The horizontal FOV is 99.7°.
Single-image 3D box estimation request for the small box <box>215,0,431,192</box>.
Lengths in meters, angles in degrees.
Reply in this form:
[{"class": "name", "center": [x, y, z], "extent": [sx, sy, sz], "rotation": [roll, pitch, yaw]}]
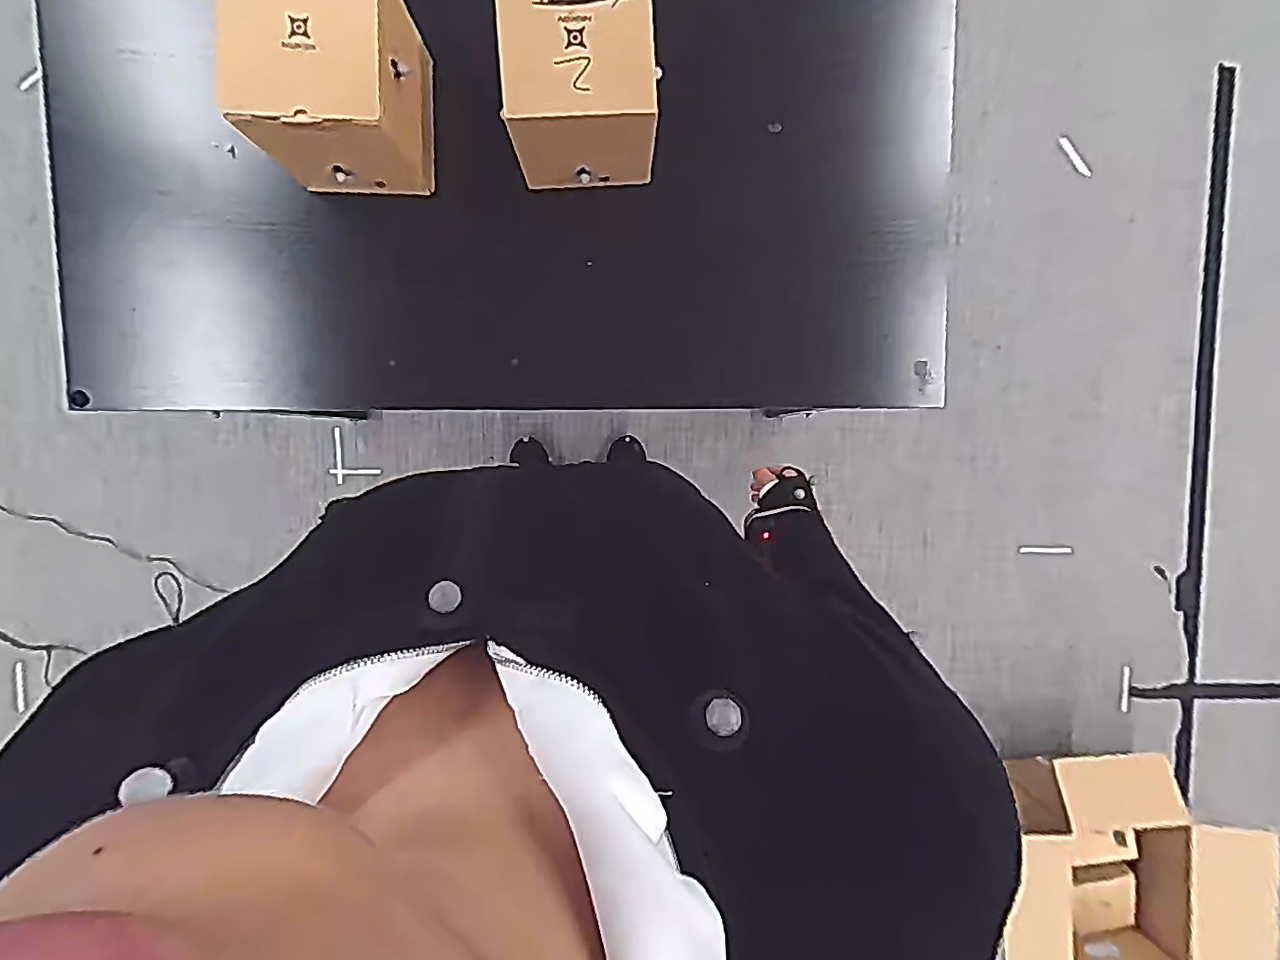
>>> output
[{"class": "small box", "center": [-0.358, -0.472, 0.639], "extent": [0.168, 0.176, 0.179], "rotation": [1, 94, -2]}]
